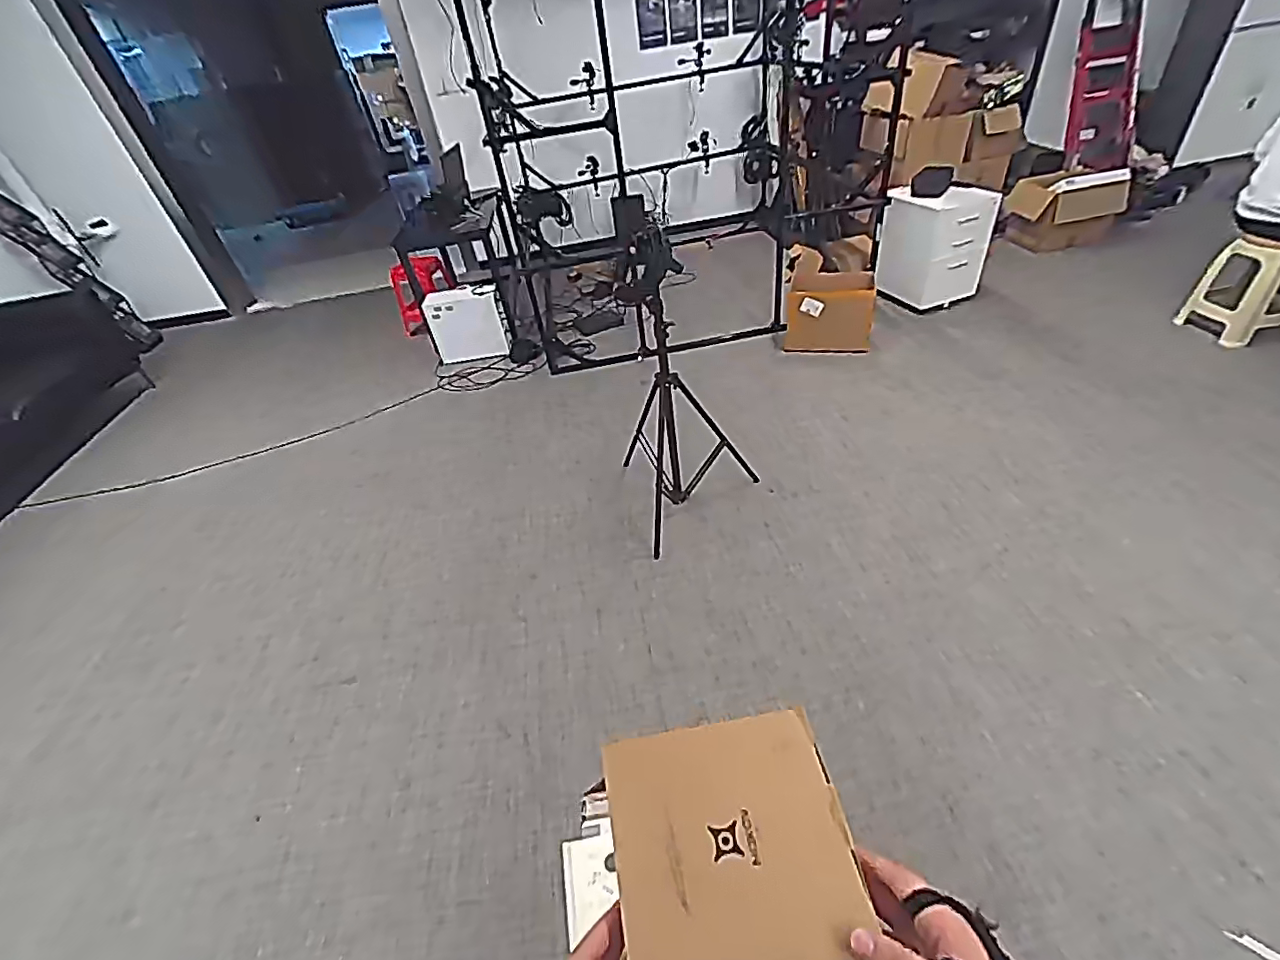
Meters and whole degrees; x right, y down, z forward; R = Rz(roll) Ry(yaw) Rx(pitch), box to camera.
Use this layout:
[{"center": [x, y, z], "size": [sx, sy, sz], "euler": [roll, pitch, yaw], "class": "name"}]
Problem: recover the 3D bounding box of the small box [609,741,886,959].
[{"center": [0.076, 0.347, 0.463], "size": [0.179, 0.176, 0.168], "euler": [-10, 50, -5], "class": "small box"}]
